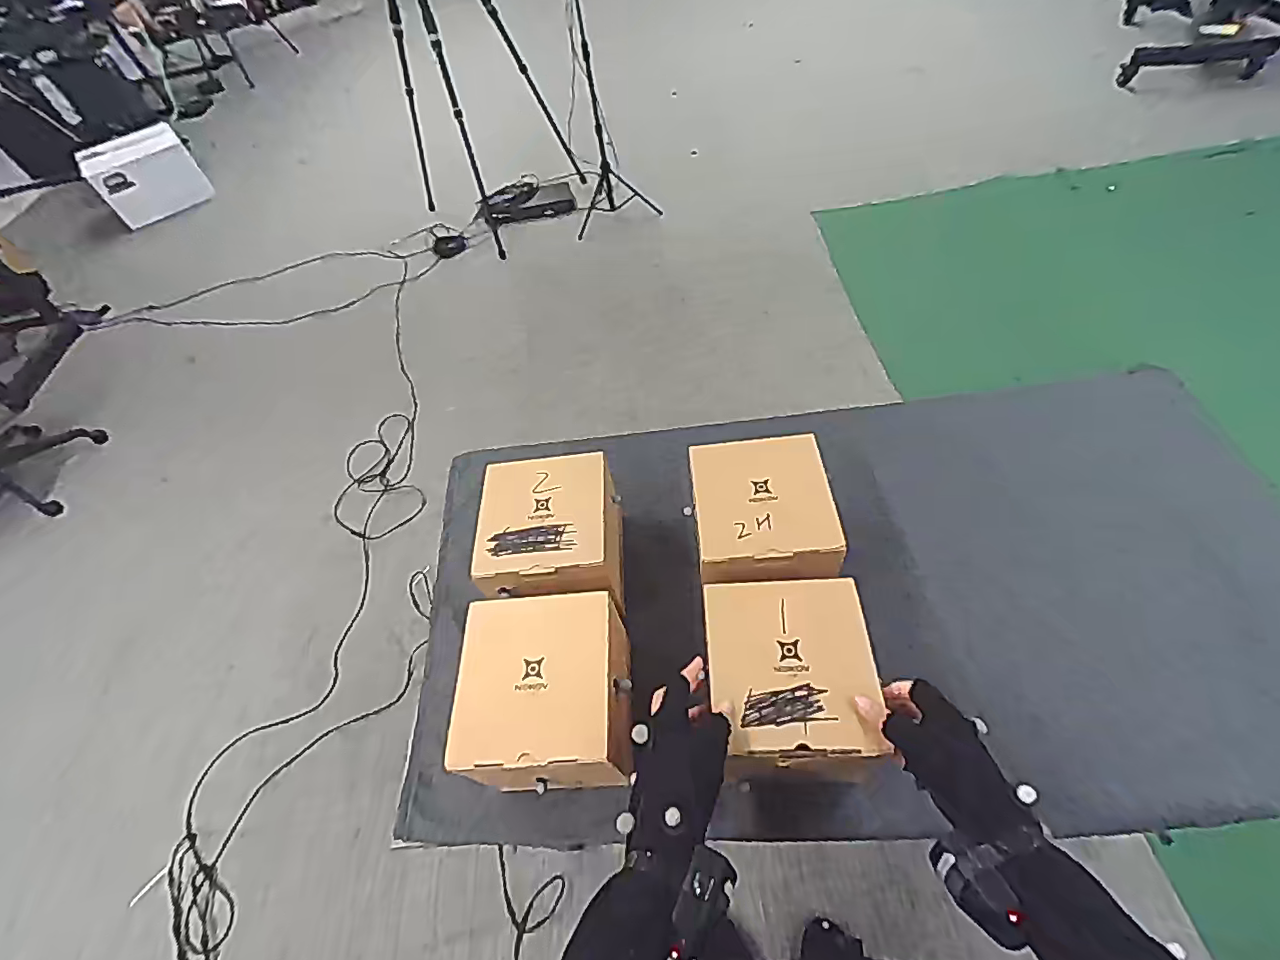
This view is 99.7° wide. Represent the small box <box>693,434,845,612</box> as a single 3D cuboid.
[{"bbox_3d":[0.161,0.061,0.732,0.168,0.176,0.179,-5,54,5],"label":"small box"}]
